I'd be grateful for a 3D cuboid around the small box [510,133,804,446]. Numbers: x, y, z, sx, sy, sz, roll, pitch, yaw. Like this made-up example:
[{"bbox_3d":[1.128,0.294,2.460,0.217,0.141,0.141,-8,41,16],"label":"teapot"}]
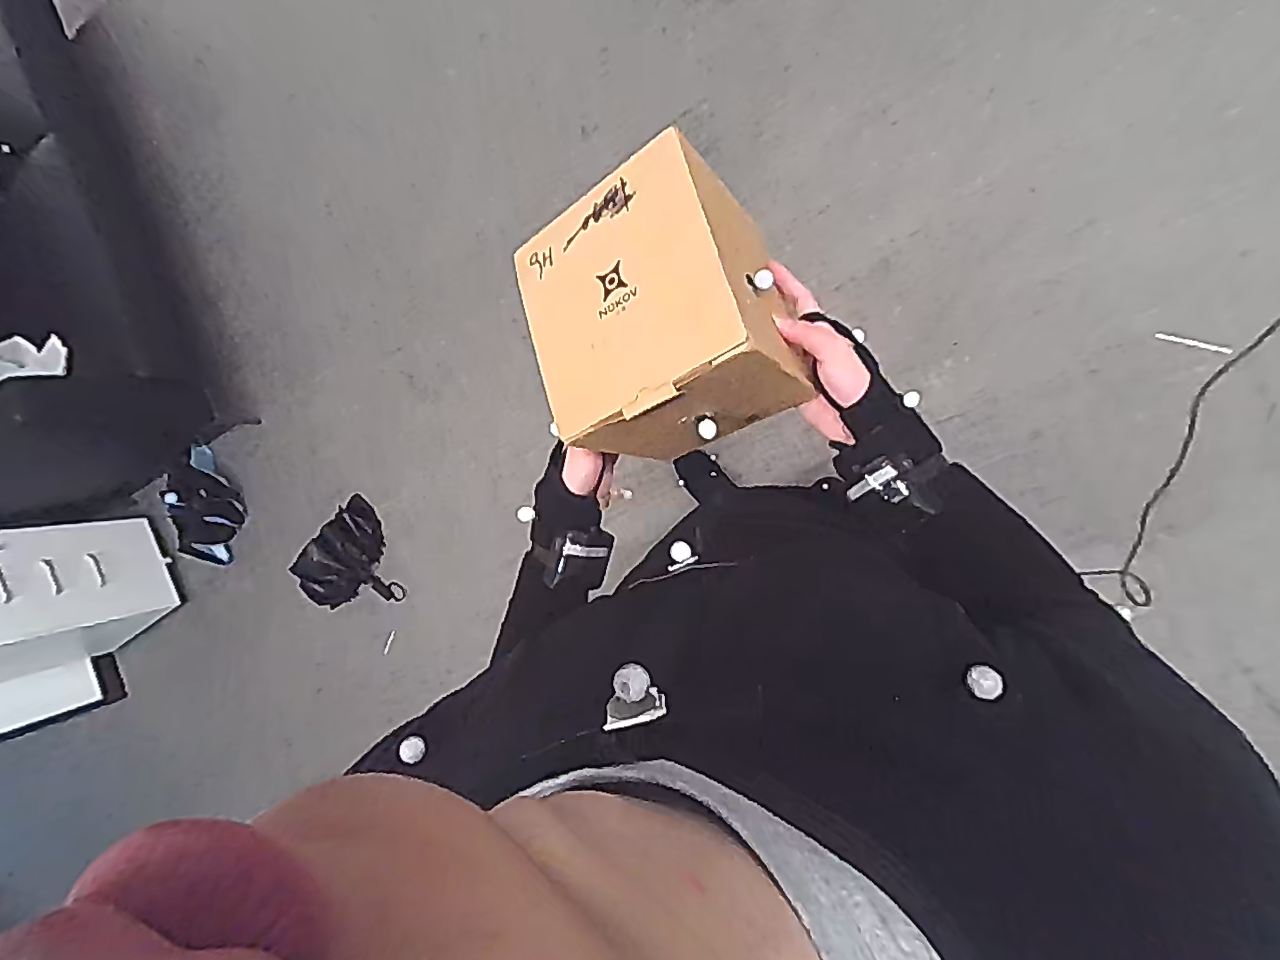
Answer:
[{"bbox_3d":[0.022,-0.135,0.466,0.168,0.176,0.179,-23,77,29],"label":"small box"}]
